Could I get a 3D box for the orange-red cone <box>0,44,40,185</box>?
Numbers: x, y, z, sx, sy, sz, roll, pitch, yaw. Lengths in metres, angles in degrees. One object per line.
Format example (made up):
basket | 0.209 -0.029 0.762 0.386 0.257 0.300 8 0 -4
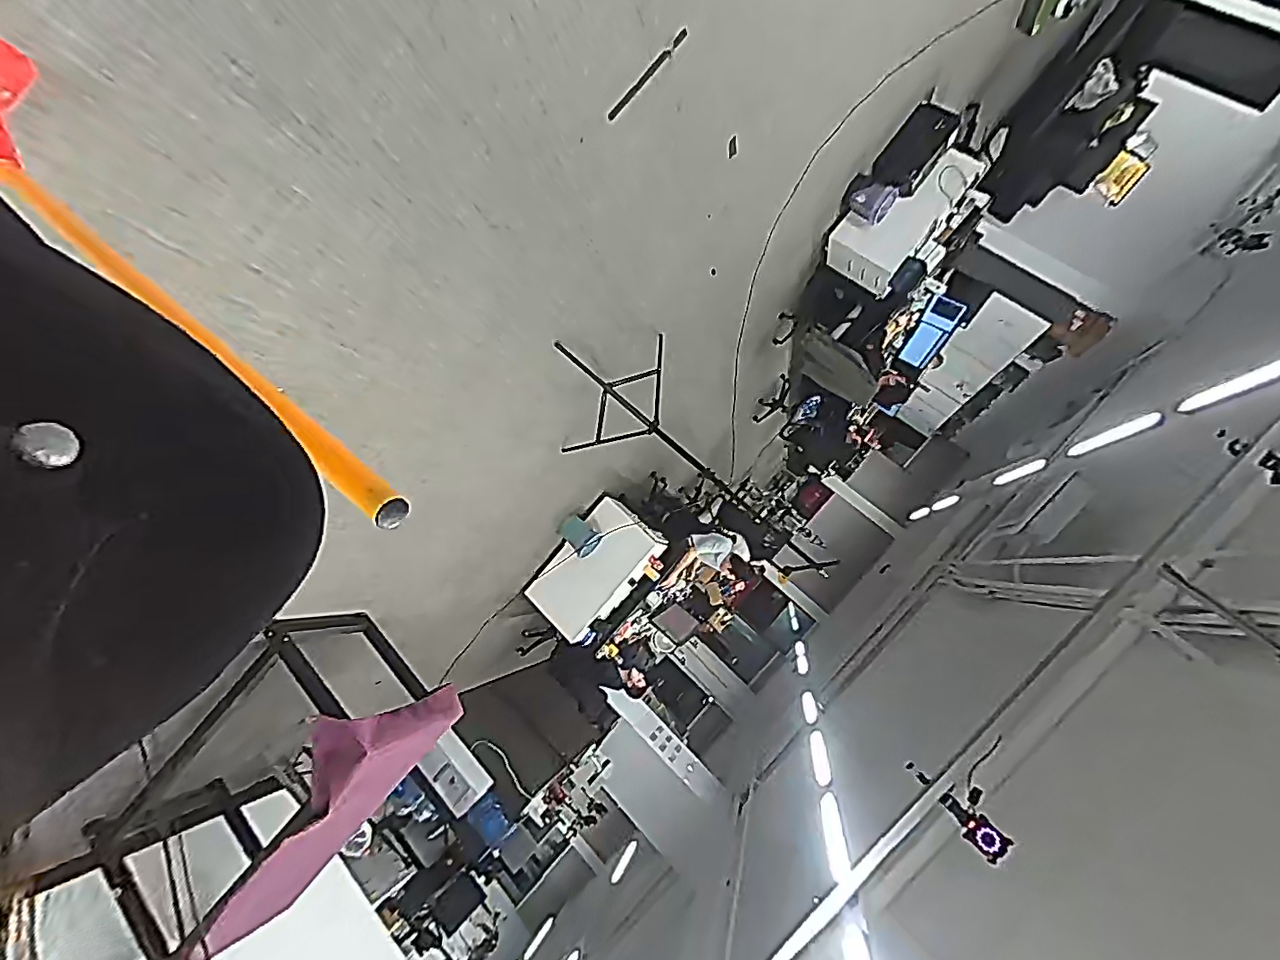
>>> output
orange-red cone | -0.939 -0.505 0.743 0.199 0.360 0.198 -47 162 -1
